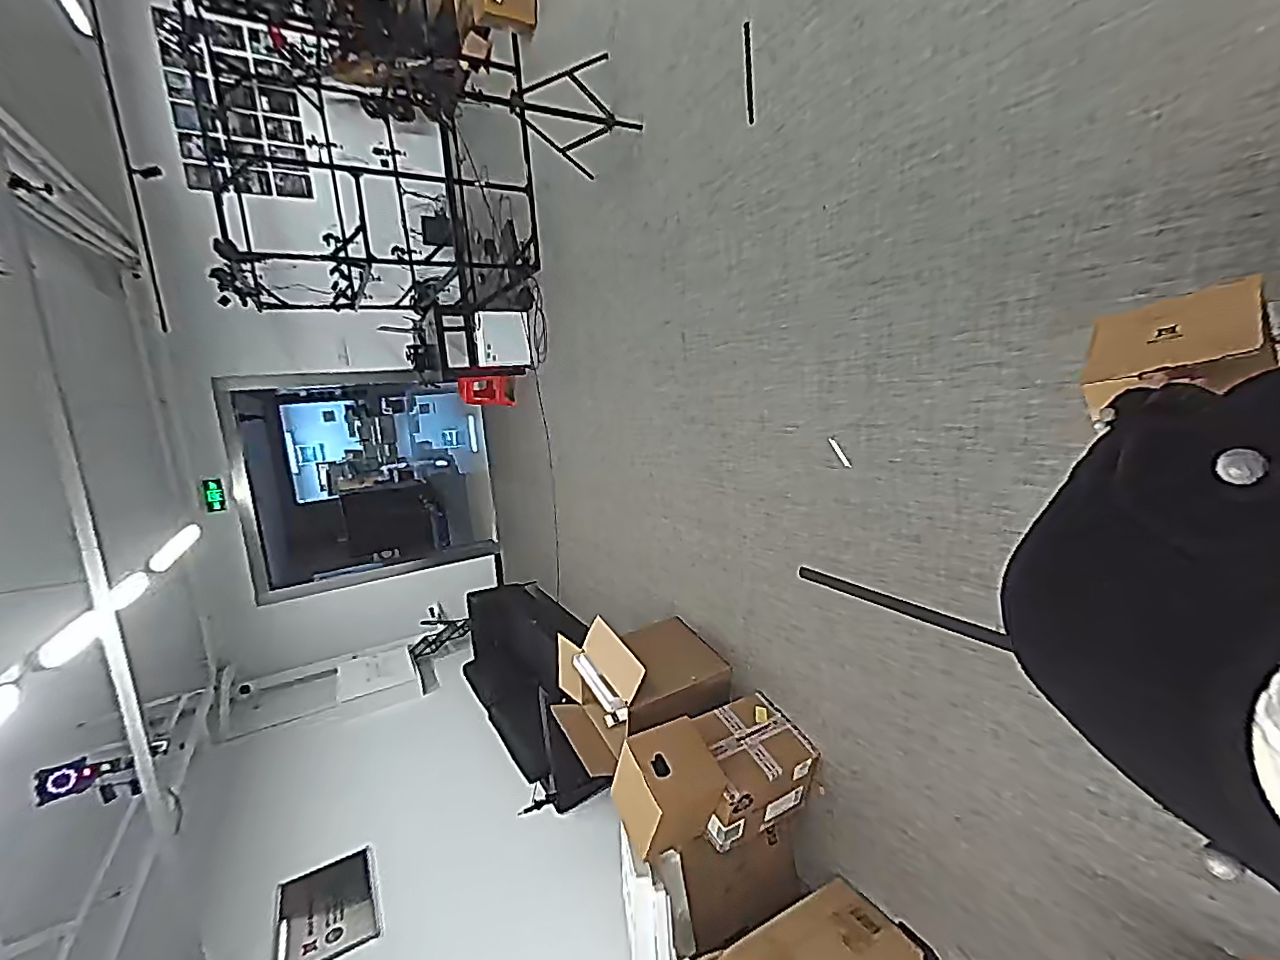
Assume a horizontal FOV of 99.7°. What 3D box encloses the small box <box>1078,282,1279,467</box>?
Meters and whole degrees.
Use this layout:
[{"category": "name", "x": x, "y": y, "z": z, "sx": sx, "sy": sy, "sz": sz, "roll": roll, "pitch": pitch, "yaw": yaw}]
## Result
[{"category": "small box", "x": 0.737, "y": -0.130, "z": 0.741, "sx": 0.168, "sy": 0.179, "sz": 0.176, "roll": -8, "pitch": 124, "yaw": 52}]
